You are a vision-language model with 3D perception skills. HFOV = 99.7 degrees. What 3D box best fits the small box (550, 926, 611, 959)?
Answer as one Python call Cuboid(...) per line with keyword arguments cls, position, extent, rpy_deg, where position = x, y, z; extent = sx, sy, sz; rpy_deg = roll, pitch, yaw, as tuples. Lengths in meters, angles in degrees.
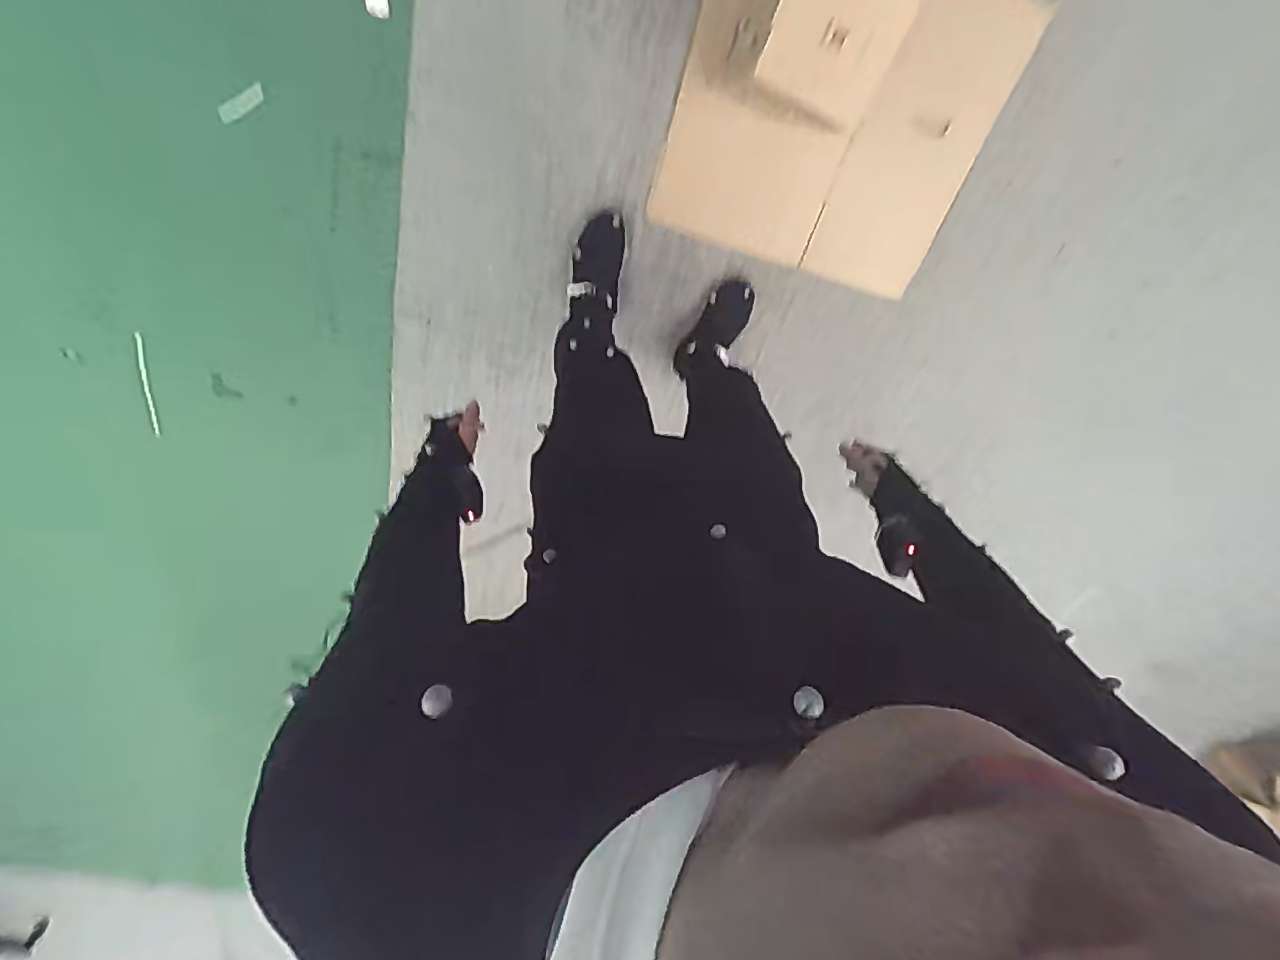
Cuboid(cls="small box", position=(-0.198, 1.571, 1.737), extent=(0.179, 0.176, 0.168), rpy_deg=(13, 122, -8))
